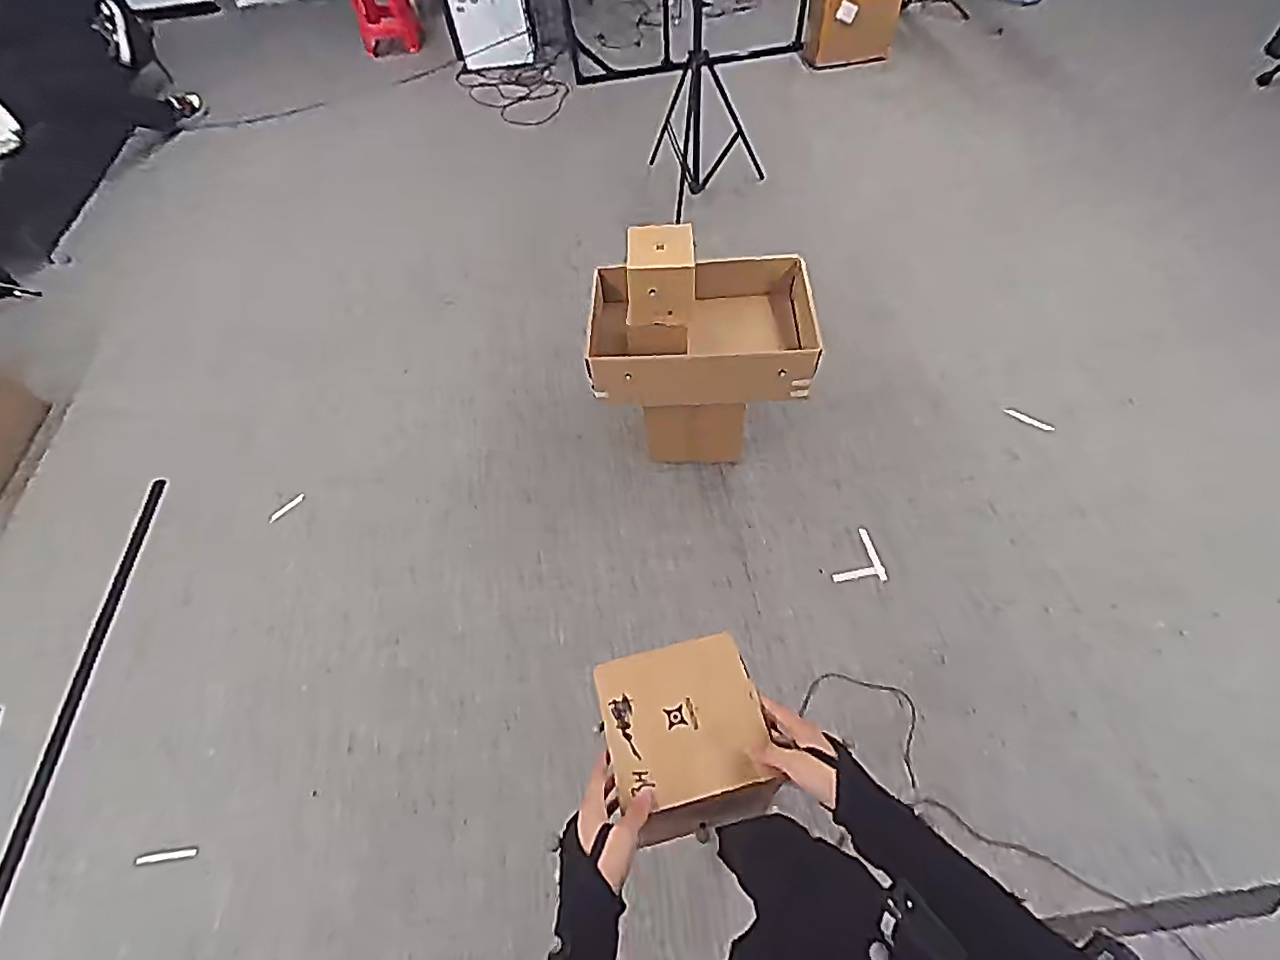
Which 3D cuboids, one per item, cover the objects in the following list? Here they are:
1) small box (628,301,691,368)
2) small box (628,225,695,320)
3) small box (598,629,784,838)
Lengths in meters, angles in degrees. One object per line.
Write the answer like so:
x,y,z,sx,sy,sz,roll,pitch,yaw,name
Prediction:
0.061,-0.435,1.536,0.168,0.176,0.179,1,57,5,small box
0.059,-0.532,1.405,0.168,0.176,0.179,-2,57,3,small box
0.050,0.307,0.656,0.179,0.176,0.168,-10,47,-8,small box
